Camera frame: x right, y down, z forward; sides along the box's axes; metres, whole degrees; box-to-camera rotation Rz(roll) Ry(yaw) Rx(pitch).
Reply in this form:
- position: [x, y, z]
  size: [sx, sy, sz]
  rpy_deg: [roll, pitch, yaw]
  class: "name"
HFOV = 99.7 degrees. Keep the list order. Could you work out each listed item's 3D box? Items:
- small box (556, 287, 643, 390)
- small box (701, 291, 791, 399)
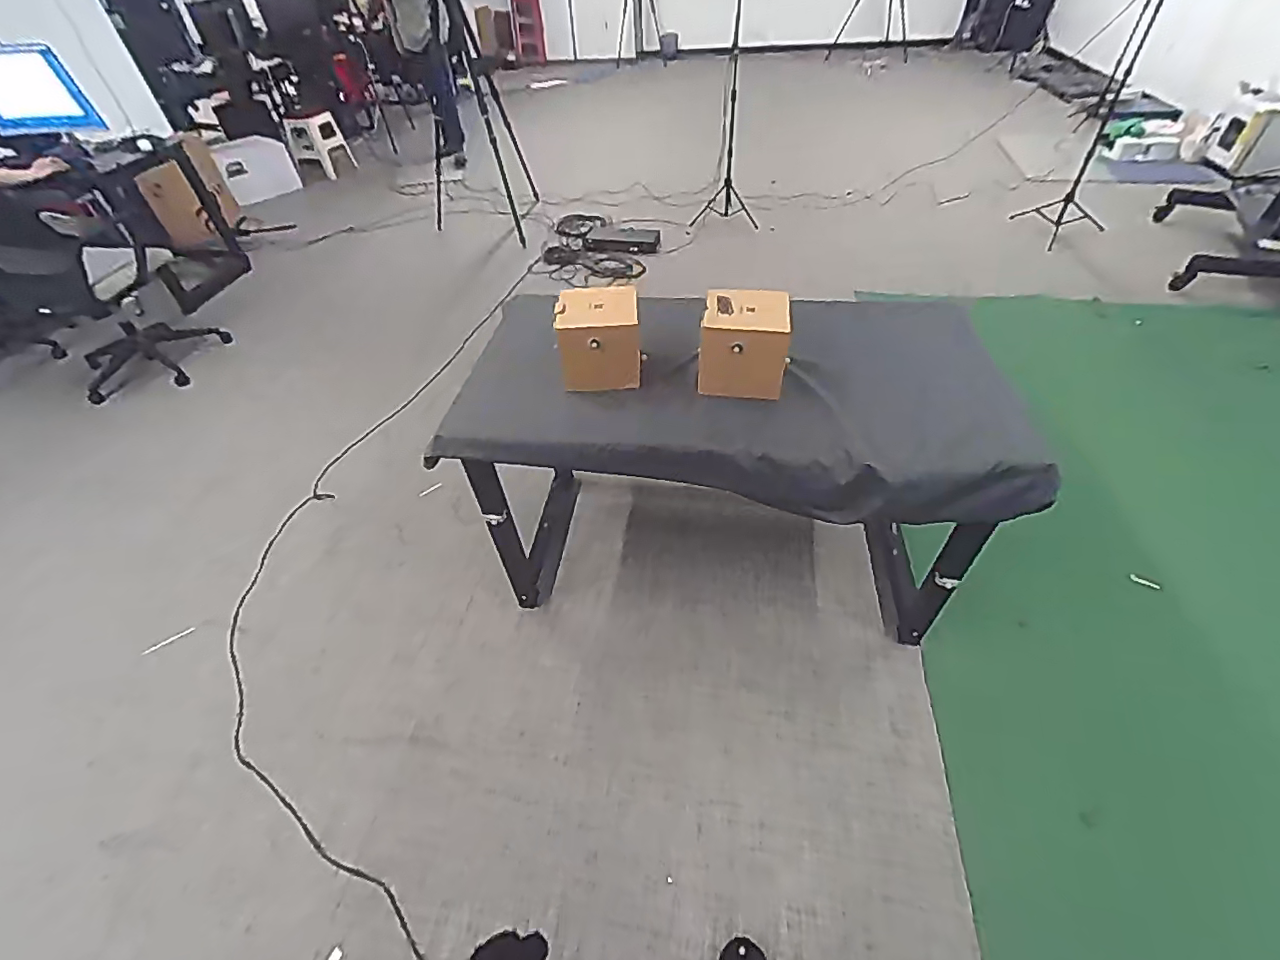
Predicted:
- position: [-0.085, -0.316, 1.222]
  size: [0.179, 0.176, 0.168]
  rpy_deg: [-2, 47, 0]
  class: "small box"
- position: [0.228, -0.293, 1.177]
  size: [0.179, 0.176, 0.168]
  rpy_deg: [6, 47, 8]
  class: "small box"
